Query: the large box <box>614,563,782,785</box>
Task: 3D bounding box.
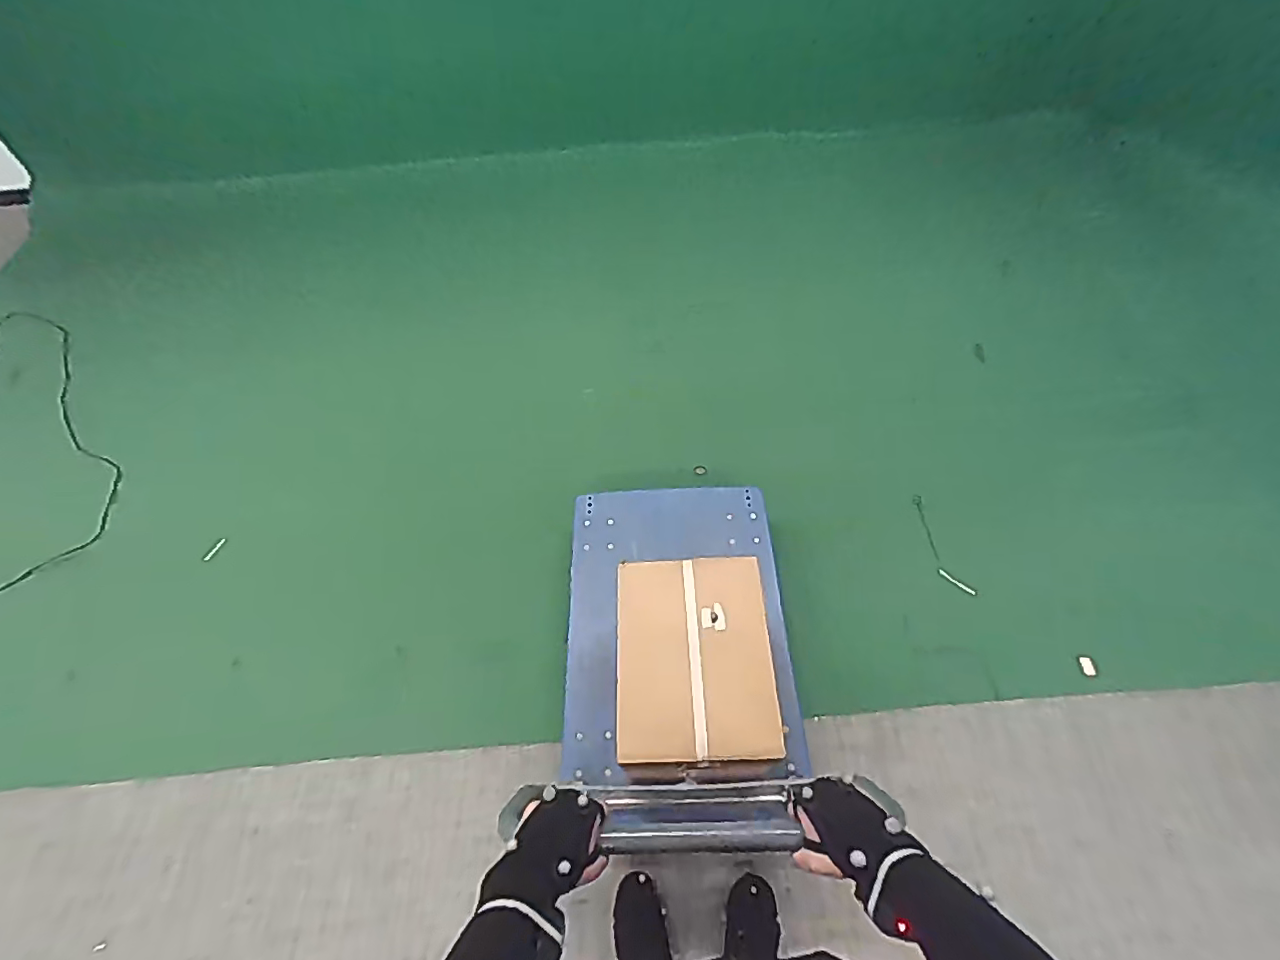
[{"bbox_3d":[0.112,0.442,1.225,0.320,0.320,0.408,-3,55,1],"label":"large box"}]
